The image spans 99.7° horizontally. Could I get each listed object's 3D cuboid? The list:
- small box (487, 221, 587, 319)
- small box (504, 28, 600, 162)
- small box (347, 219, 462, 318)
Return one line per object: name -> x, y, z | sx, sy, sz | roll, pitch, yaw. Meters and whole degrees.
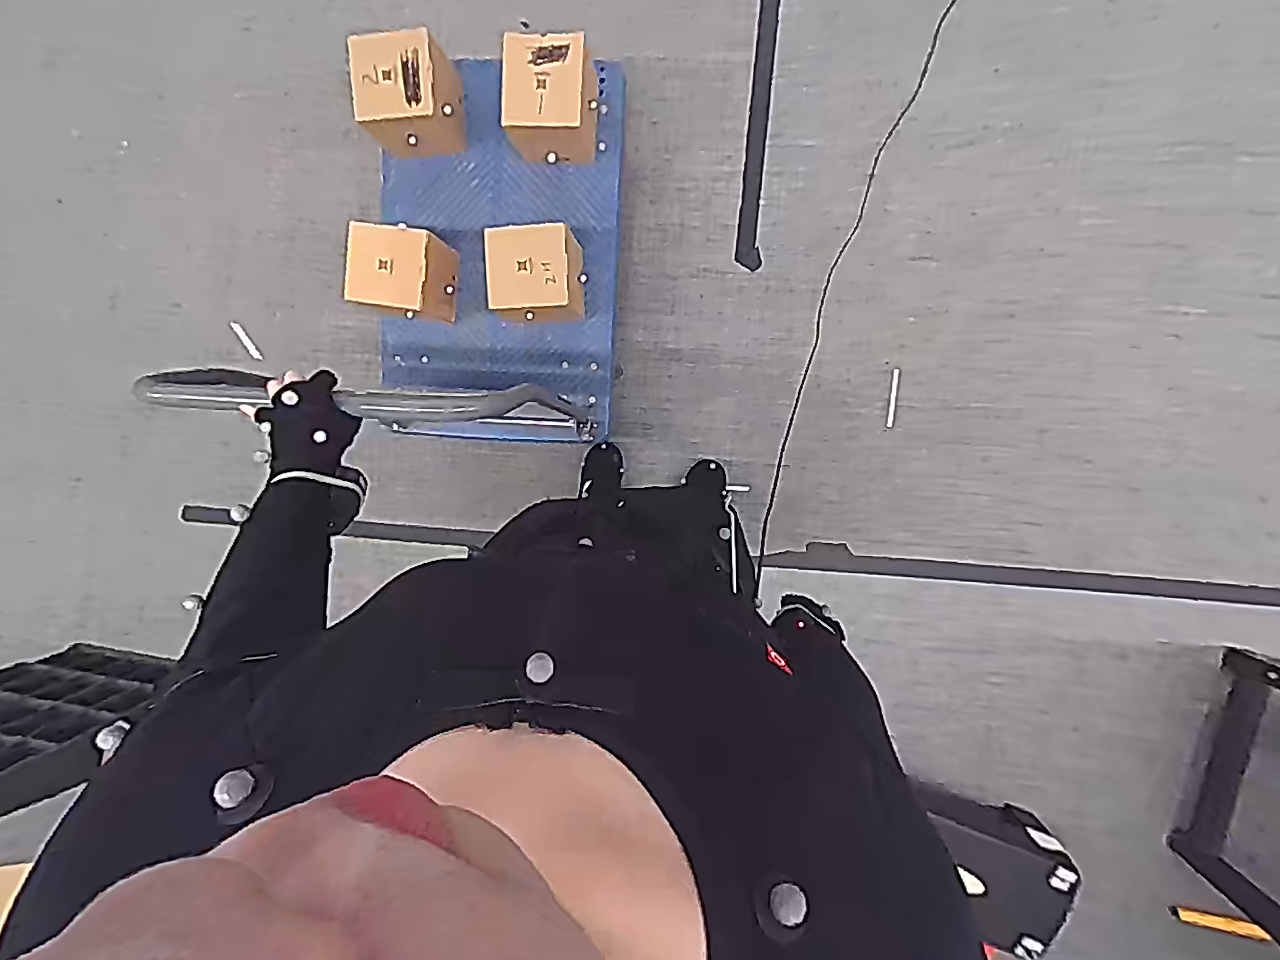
small box -> -0.222, -0.455, 1.195 | 0.179, 0.176, 0.168 | -1, 97, 6
small box -> -0.181, -0.811, 1.151 | 0.168, 0.176, 0.179 | 5, 98, 5
small box -> -0.526, -0.470, 1.225 | 0.179, 0.176, 0.168 | 8, 97, 4
